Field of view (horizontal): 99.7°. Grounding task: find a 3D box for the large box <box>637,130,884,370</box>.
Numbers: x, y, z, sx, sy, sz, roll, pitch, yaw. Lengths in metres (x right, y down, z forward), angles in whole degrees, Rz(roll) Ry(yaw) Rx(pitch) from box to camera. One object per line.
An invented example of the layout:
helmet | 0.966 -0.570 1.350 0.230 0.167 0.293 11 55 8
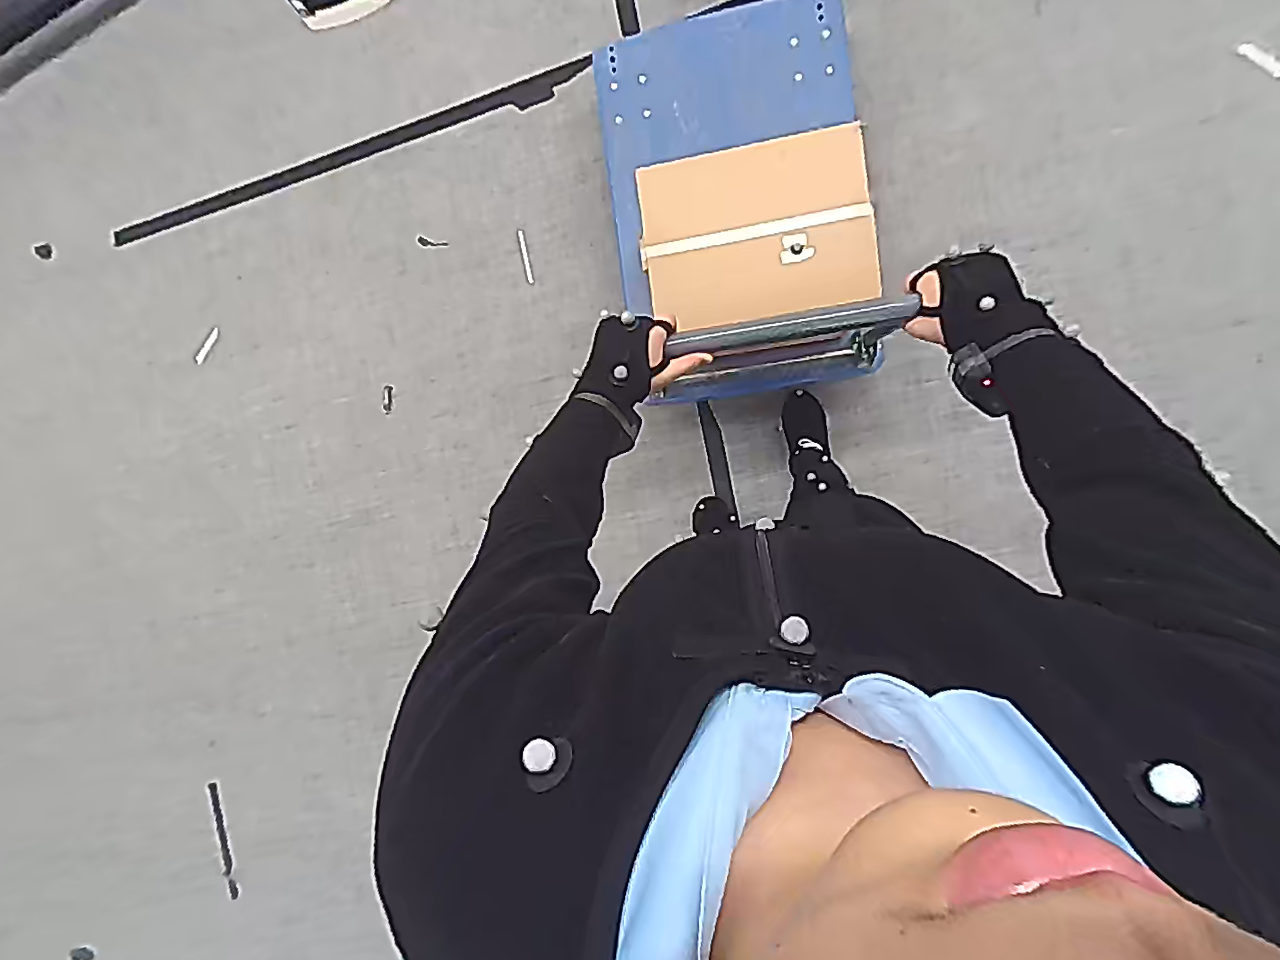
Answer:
large box | 0.228 -0.433 1.113 0.408 0.320 0.320 -8 92 8
